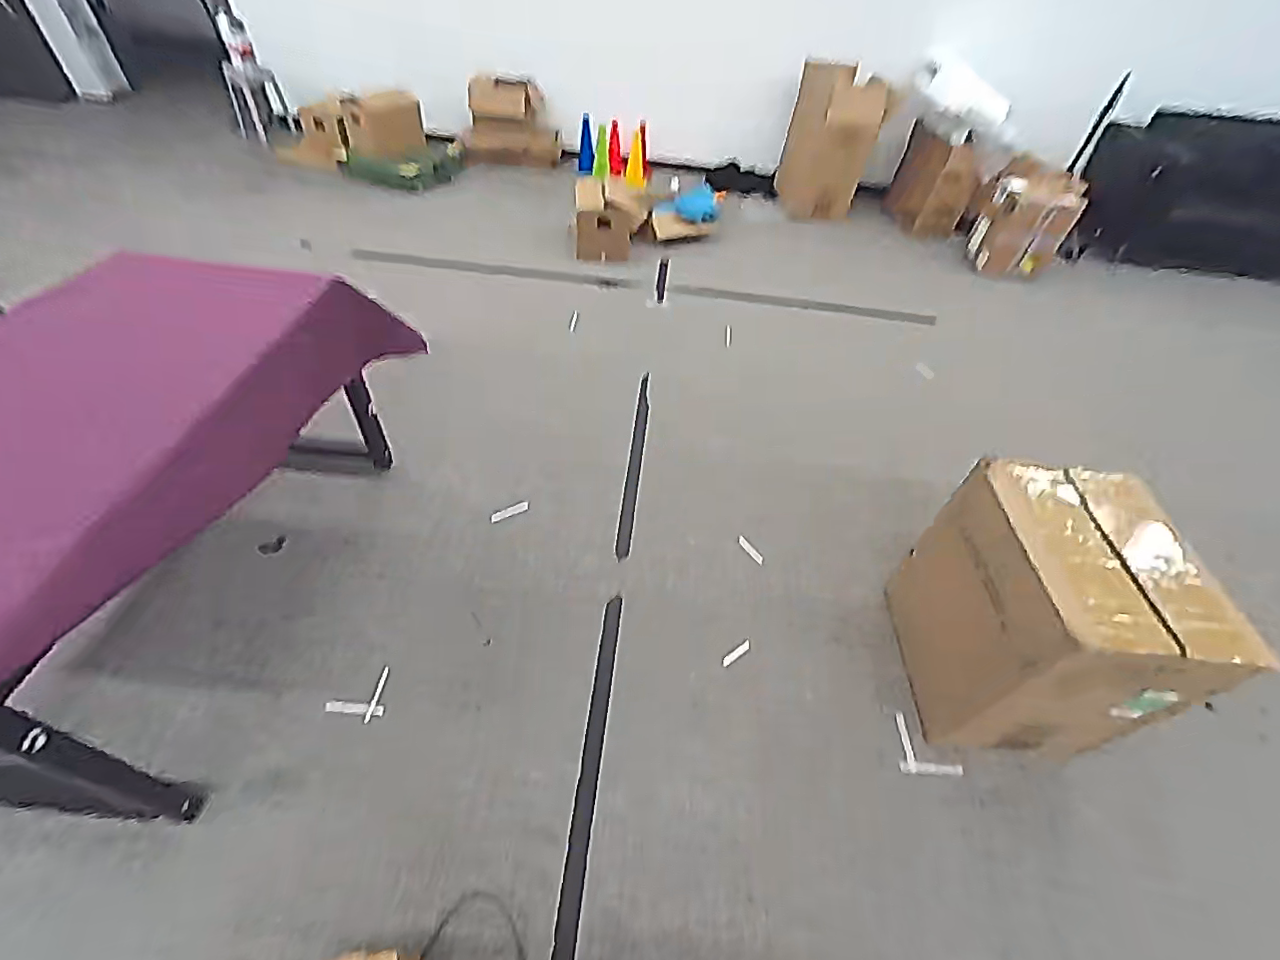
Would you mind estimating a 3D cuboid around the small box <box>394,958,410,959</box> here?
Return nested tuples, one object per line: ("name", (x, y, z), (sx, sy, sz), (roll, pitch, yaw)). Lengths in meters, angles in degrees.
("small box", (-0.504, 1.010, 0.990), (0.168, 0.176, 0.179), (-6, 48, -6))
